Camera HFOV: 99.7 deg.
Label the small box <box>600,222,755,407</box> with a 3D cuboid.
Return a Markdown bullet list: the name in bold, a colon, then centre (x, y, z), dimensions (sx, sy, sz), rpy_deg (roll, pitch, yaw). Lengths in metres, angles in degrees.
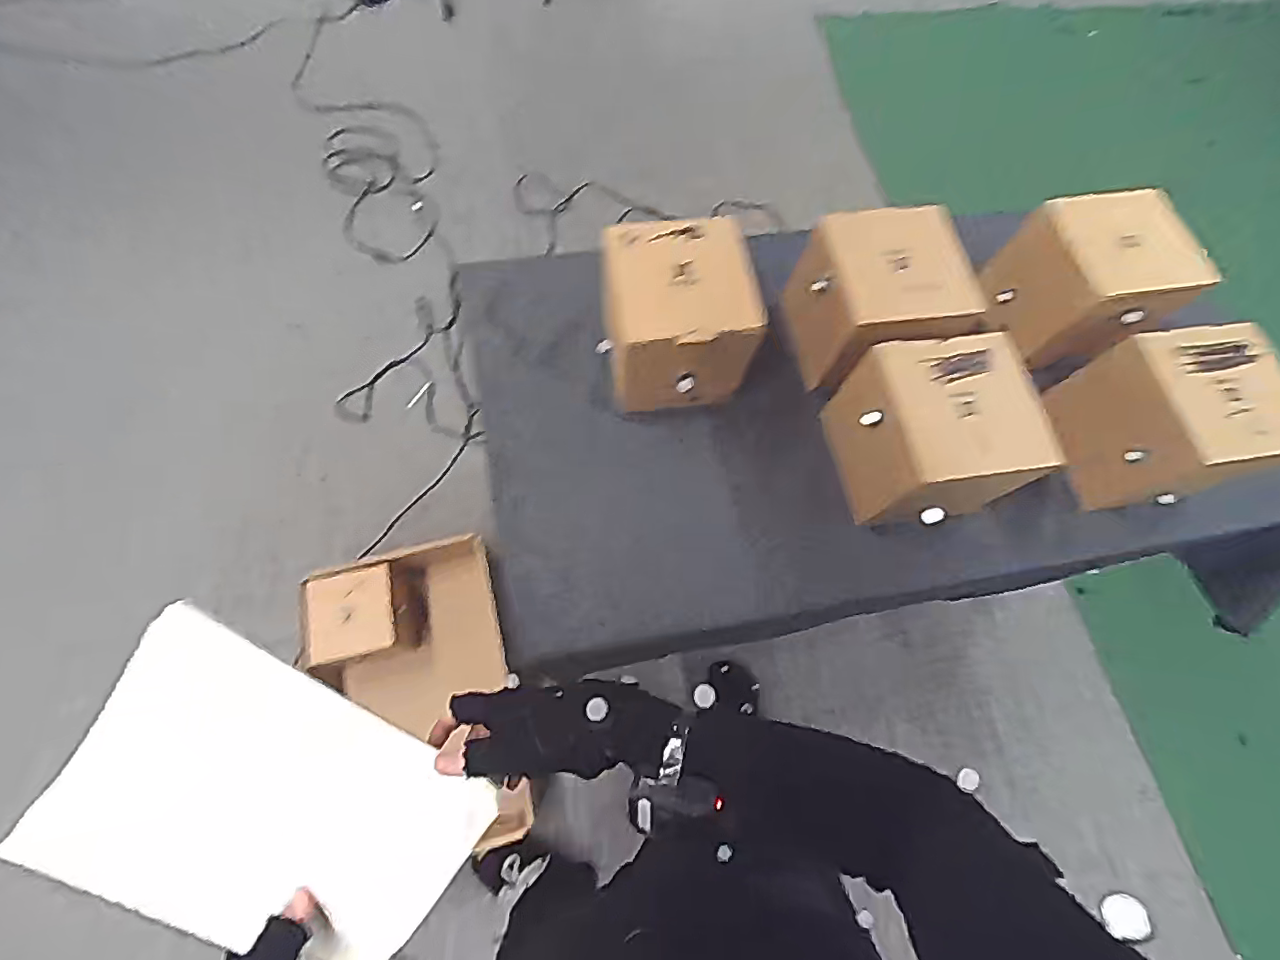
- **small box**: centre (0.038, -0.208, 0.722), dimensions (0.168, 0.176, 0.179), rpy_deg (-7, 69, -7)

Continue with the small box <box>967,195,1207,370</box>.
- **small box**: centre (0.633, -0.281, 0.792), dimensions (0.179, 0.176, 0.168), rpy_deg (-9, 69, -6)
